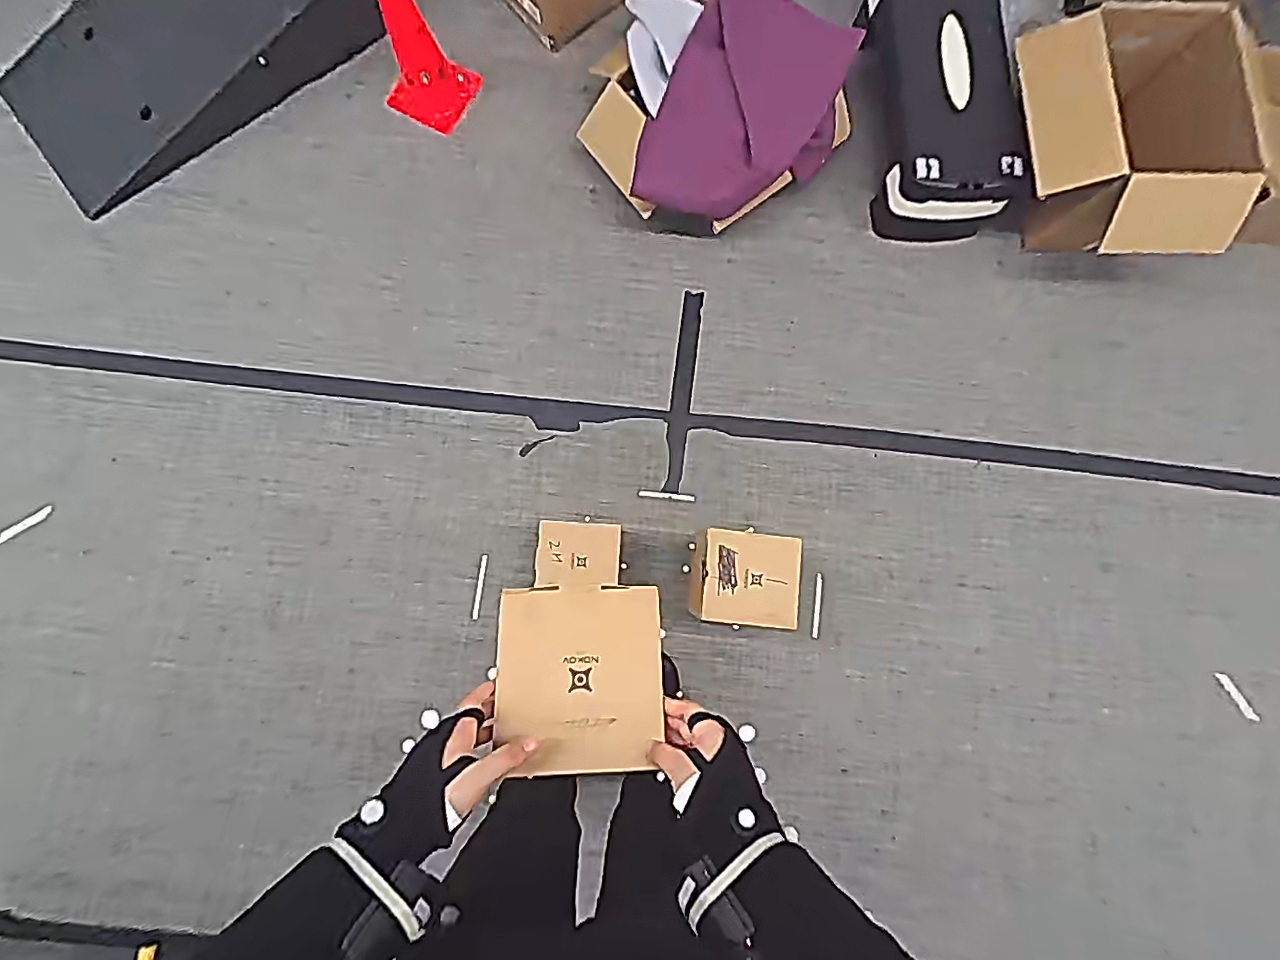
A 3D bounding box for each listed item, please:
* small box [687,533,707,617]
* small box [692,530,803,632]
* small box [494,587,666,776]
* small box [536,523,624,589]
[{"bbox_3d":[0.200,0.218,1.211,0.168,0.176,0.179,8,83,0],"label":"small box"},{"bbox_3d":[0.200,0.193,1.047,0.179,0.176,0.168,7,82,-1],"label":"small box"},{"bbox_3d":[-0.065,0.223,0.613,0.168,0.176,0.179,1,71,-6],"label":"small box"},{"bbox_3d":[-0.127,0.188,1.205,0.179,0.176,0.168,4,82,0],"label":"small box"}]
